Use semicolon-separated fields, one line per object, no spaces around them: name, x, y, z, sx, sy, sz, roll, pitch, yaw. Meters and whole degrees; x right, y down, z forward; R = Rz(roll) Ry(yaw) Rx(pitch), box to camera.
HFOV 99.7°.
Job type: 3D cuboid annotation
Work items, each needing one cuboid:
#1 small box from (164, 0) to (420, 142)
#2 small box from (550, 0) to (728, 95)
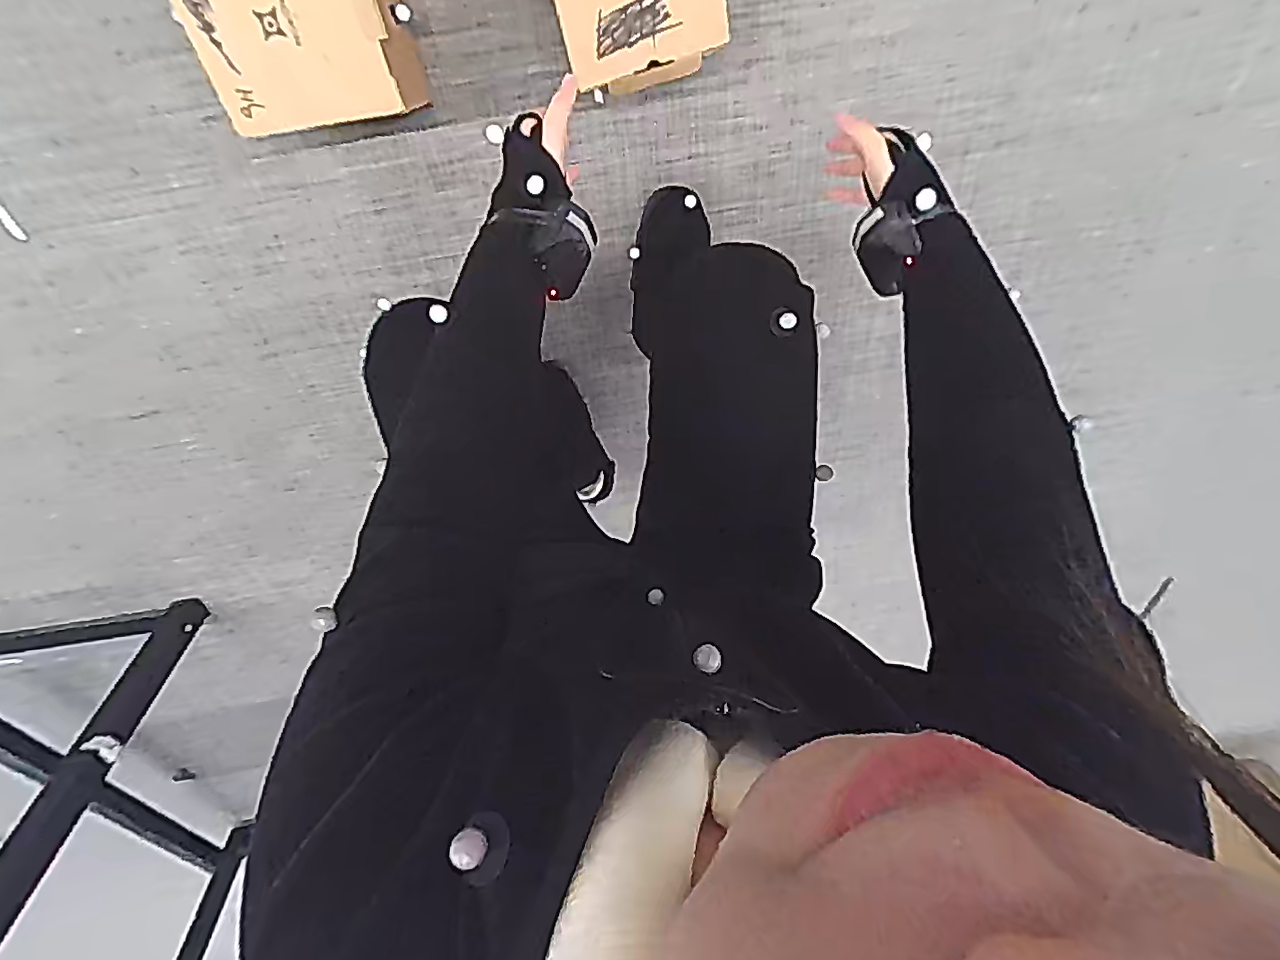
small box;-0.345;-0.469;0.561;0.179;0.176;0.168;-10;130;-1
small box;-0.015;-0.530;0.560;0.168;0.176;0.179;-15;128;4
